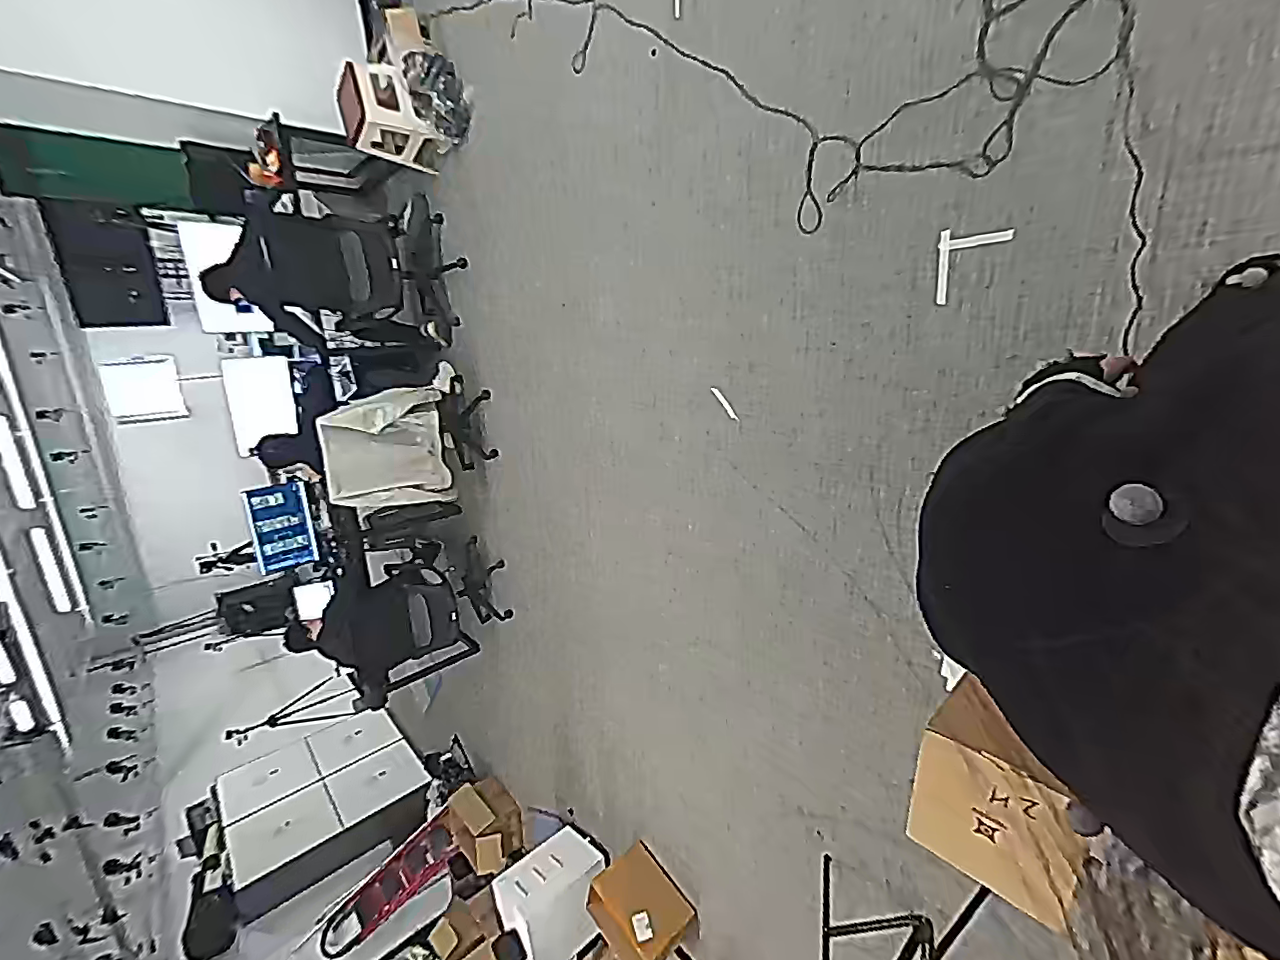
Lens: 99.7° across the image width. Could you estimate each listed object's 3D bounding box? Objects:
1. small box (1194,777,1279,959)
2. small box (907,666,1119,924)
[{"bbox_3d":[0.626,0.414,0.483,0.168,0.176,0.179,13,112,47],"label":"small box"},{"bbox_3d":[0.457,0.367,0.667,0.168,0.176,0.179,17,114,45],"label":"small box"}]
